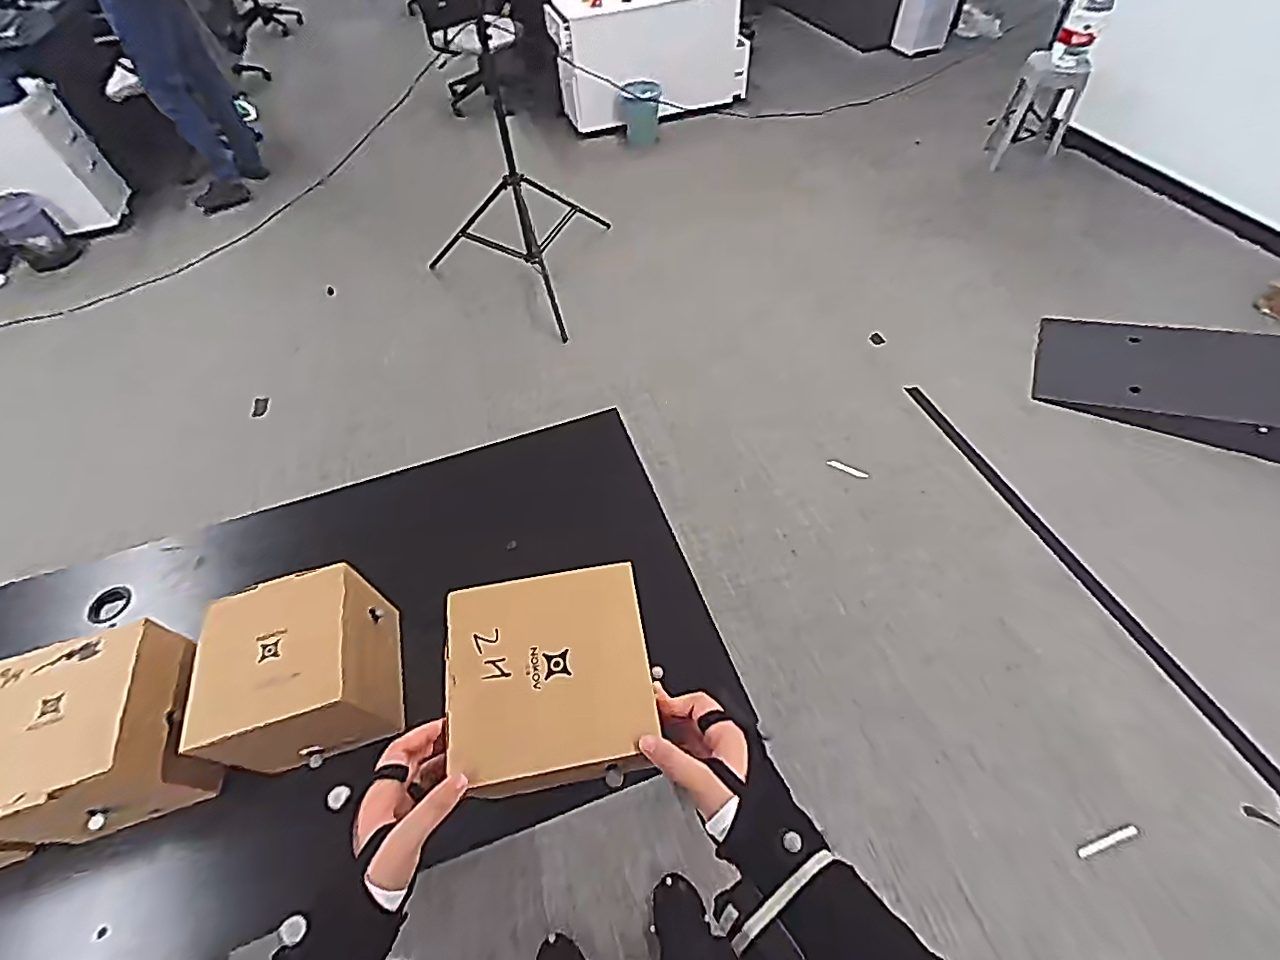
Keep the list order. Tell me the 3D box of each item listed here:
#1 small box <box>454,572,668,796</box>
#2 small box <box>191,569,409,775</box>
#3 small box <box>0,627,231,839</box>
[{"bbox_3d":[-0.074,0.209,0.543,0.179,0.176,0.168,-9,58,-4],"label":"small box"},{"bbox_3d":[-0.410,0.246,0.685,0.168,0.176,0.179,-17,55,-8],"label":"small box"},{"bbox_3d":[-0.624,0.308,0.649,0.168,0.176,0.179,-17,55,-9],"label":"small box"}]
